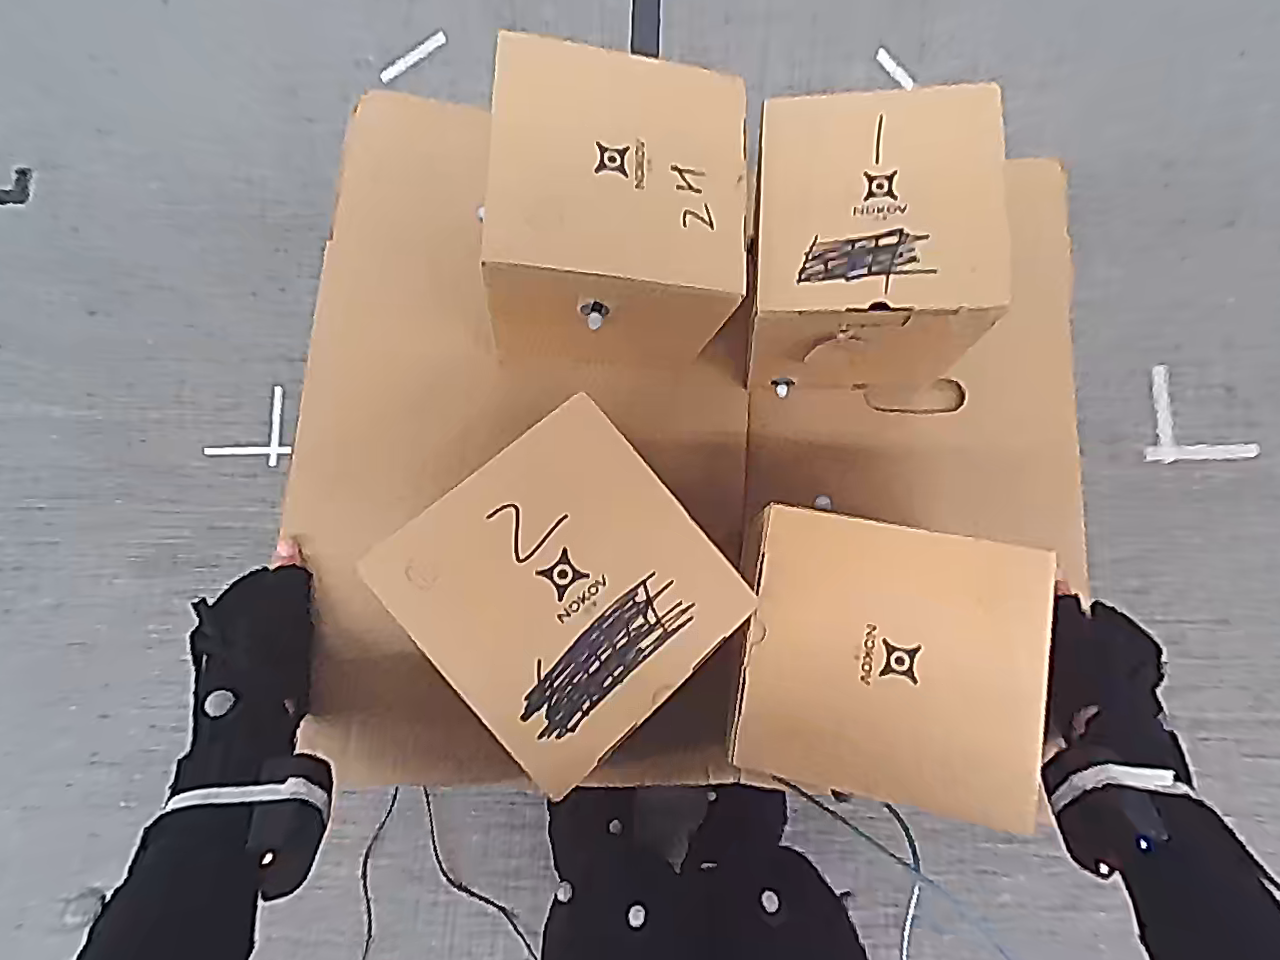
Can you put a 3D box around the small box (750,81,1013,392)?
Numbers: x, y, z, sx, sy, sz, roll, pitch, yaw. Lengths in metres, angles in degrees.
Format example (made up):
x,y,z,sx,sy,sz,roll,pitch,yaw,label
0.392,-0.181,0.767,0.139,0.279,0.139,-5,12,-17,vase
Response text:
x,y,z,sx,sy,sz,roll,pitch,yaw,label
0.181,-0.180,0.451,0.168,0.176,0.179,3,80,10,small box

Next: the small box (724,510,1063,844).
x,y,z,sx,sy,sz,roll,pitch,yaw,label
0.162,0.122,0.402,0.179,0.176,0.168,9,83,10,small box
